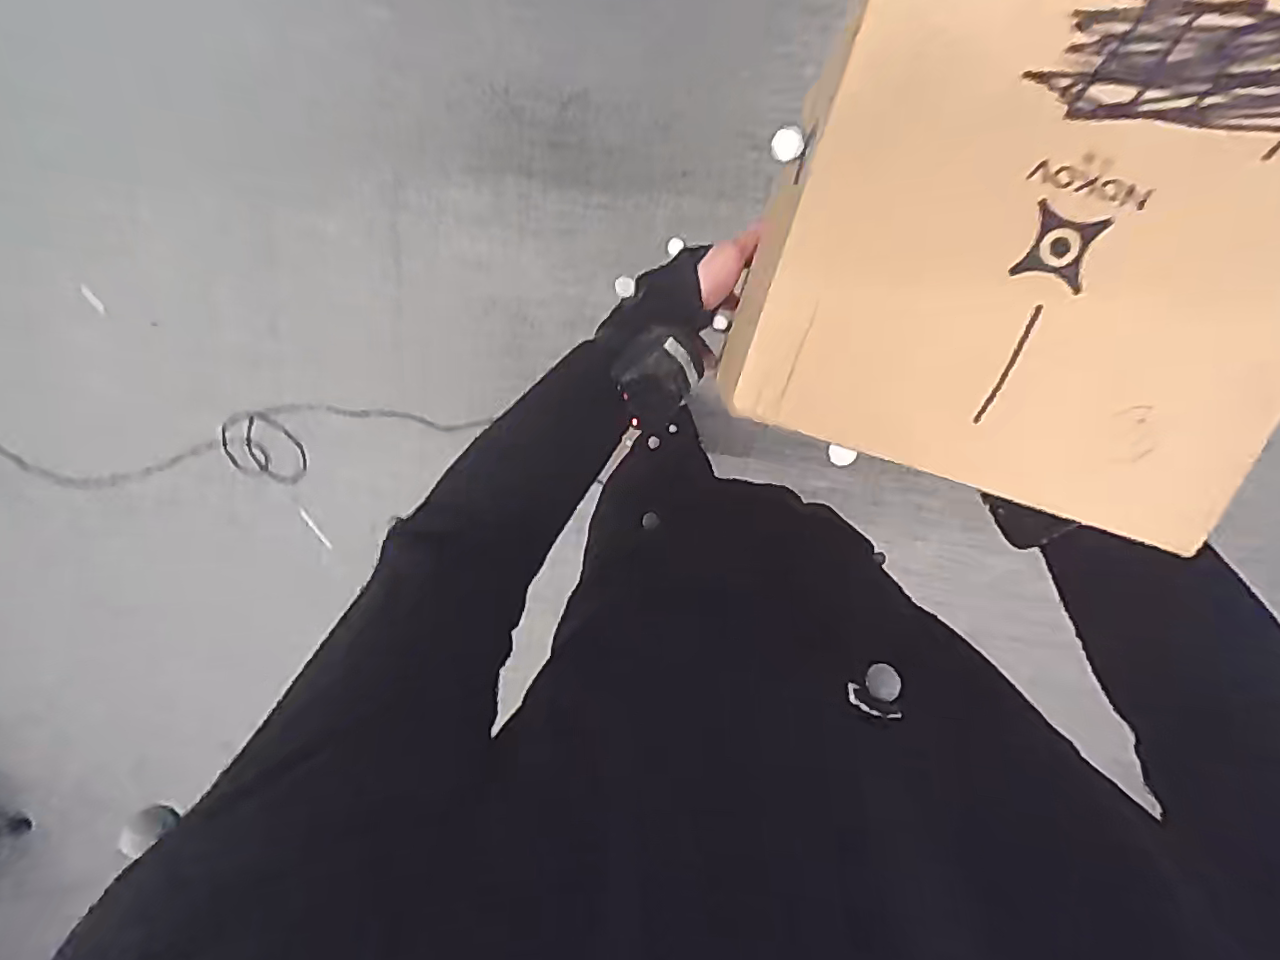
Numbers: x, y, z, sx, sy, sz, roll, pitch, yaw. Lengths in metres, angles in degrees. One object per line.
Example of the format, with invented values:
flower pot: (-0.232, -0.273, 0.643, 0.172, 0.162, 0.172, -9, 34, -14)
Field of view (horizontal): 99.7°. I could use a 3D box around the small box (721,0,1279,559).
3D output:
small box: (0.137, -0.095, 0.240, 0.168, 0.176, 0.179, 18, 105, 3)
